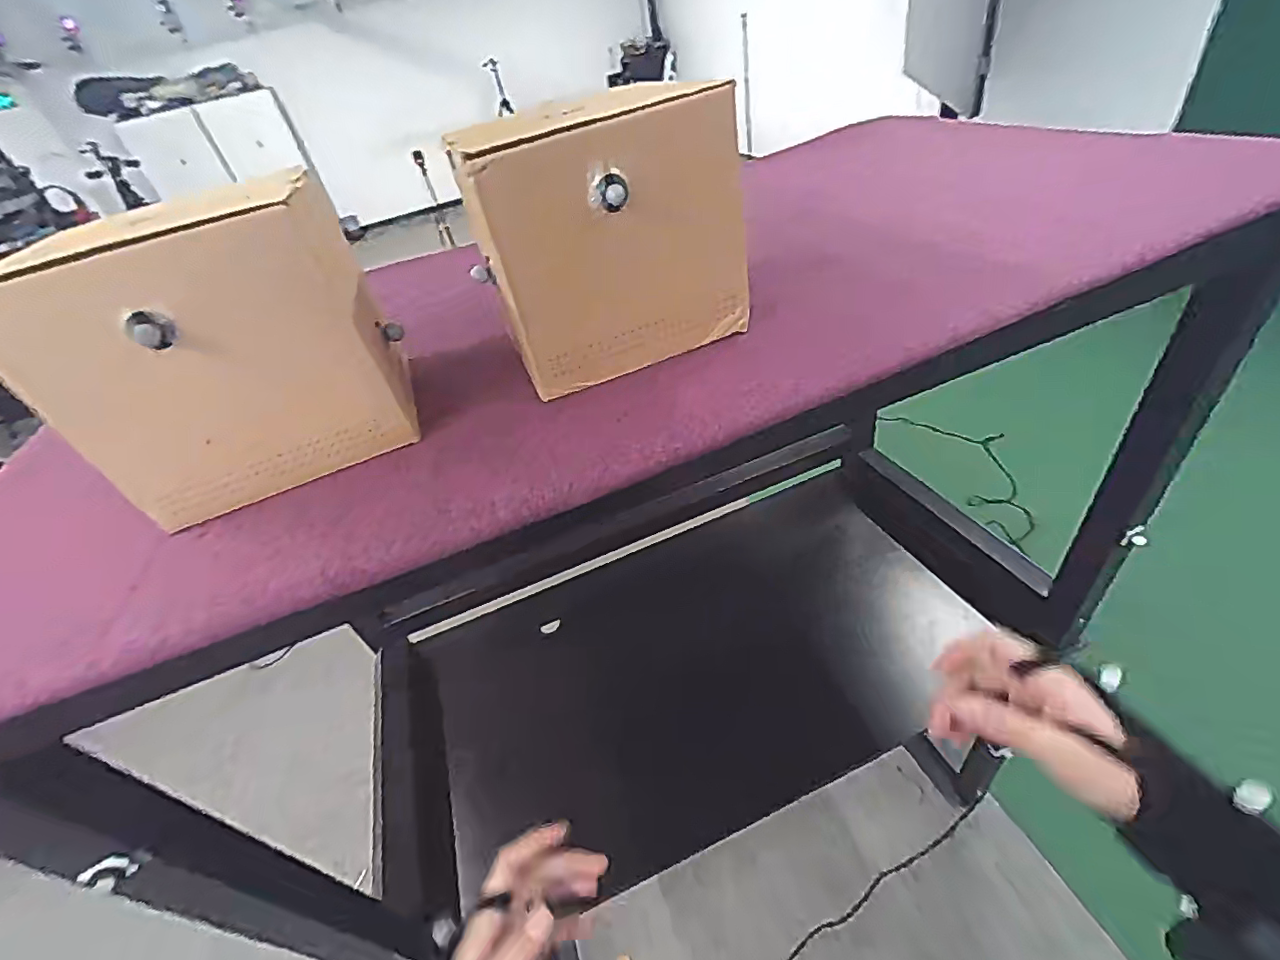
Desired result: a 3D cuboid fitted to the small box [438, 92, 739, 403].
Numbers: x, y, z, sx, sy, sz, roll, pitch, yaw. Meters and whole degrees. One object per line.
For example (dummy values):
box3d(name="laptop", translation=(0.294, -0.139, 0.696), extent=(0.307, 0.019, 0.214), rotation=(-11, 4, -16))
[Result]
box3d(name="small box", translation=(-0.038, -0.184, 0.428), extent=(0.179, 0.176, 0.168), rotation=(-21, 40, -9))

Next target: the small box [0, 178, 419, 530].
box3d(name="small box", translation=(-0.286, -0.093, 0.392), extent=(0.179, 0.176, 0.168), rotation=(-24, 41, -10))
